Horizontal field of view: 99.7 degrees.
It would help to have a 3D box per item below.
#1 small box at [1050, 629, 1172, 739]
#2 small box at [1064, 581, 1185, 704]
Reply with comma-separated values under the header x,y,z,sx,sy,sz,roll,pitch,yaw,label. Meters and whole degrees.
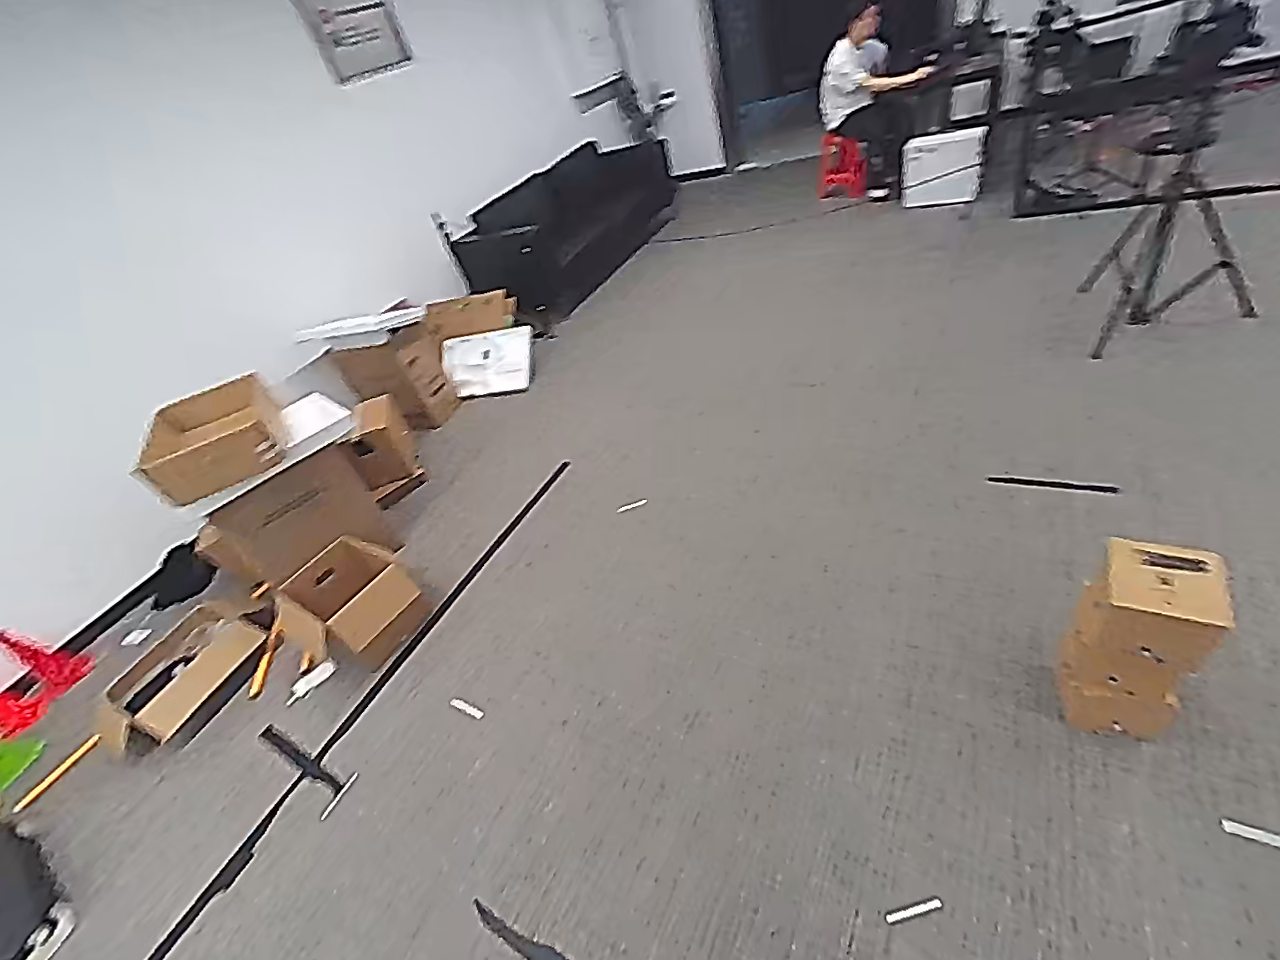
x,y,z,sx,sy,sz,roll,pitch,yaw,label
1.104,0.482,1.287,0.168,0.176,0.179,-2,42,23,small box
1.057,0.356,1.195,0.168,0.176,0.179,9,47,32,small box
